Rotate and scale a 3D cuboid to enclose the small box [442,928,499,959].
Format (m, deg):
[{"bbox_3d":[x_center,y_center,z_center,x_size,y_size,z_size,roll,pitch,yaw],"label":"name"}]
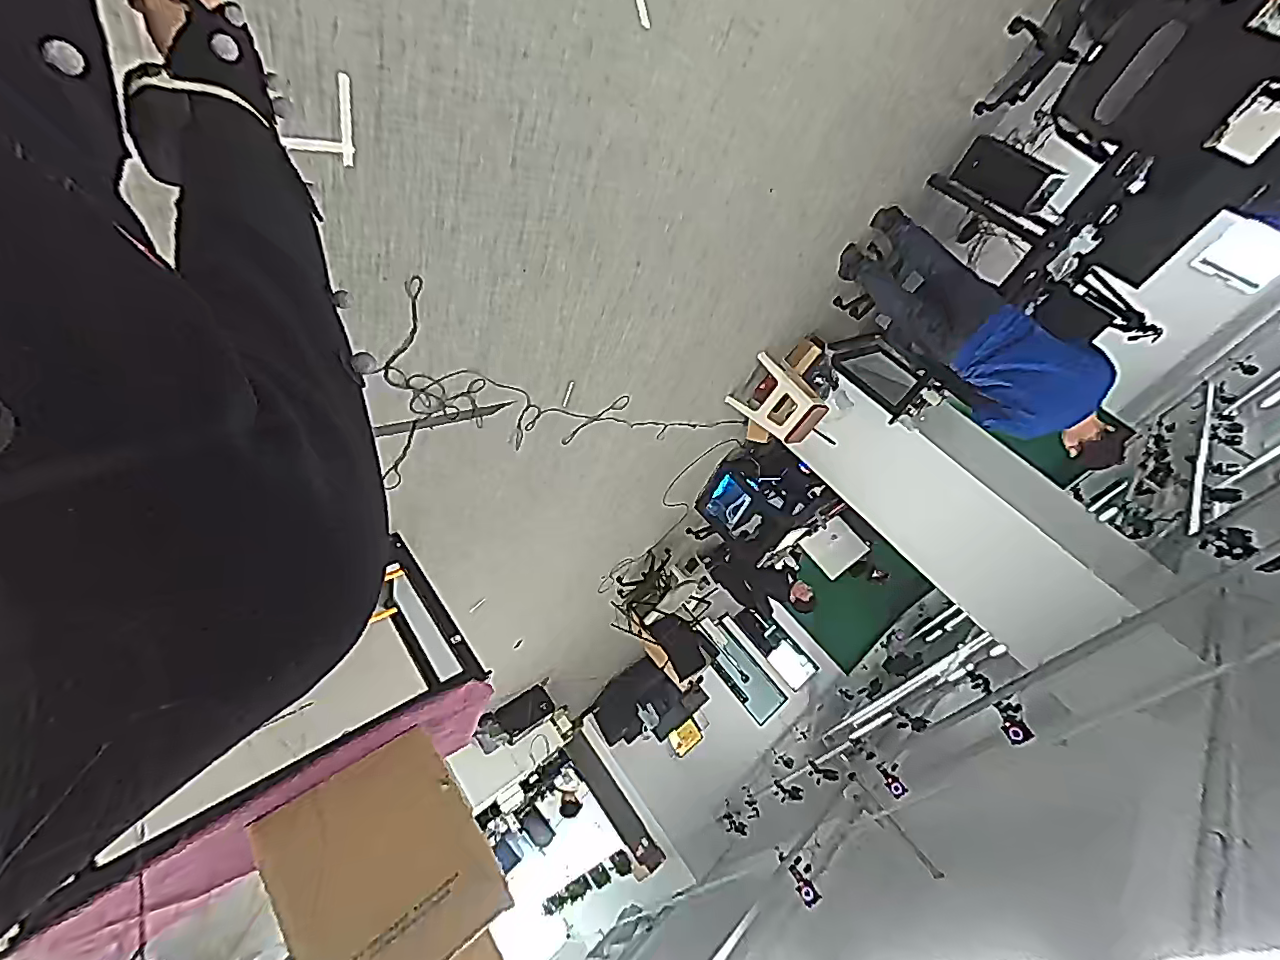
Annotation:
[{"bbox_3d":[-0.532,1.543,1.679,0.179,0.176,0.168,-22,150,-37],"label":"small box"}]
